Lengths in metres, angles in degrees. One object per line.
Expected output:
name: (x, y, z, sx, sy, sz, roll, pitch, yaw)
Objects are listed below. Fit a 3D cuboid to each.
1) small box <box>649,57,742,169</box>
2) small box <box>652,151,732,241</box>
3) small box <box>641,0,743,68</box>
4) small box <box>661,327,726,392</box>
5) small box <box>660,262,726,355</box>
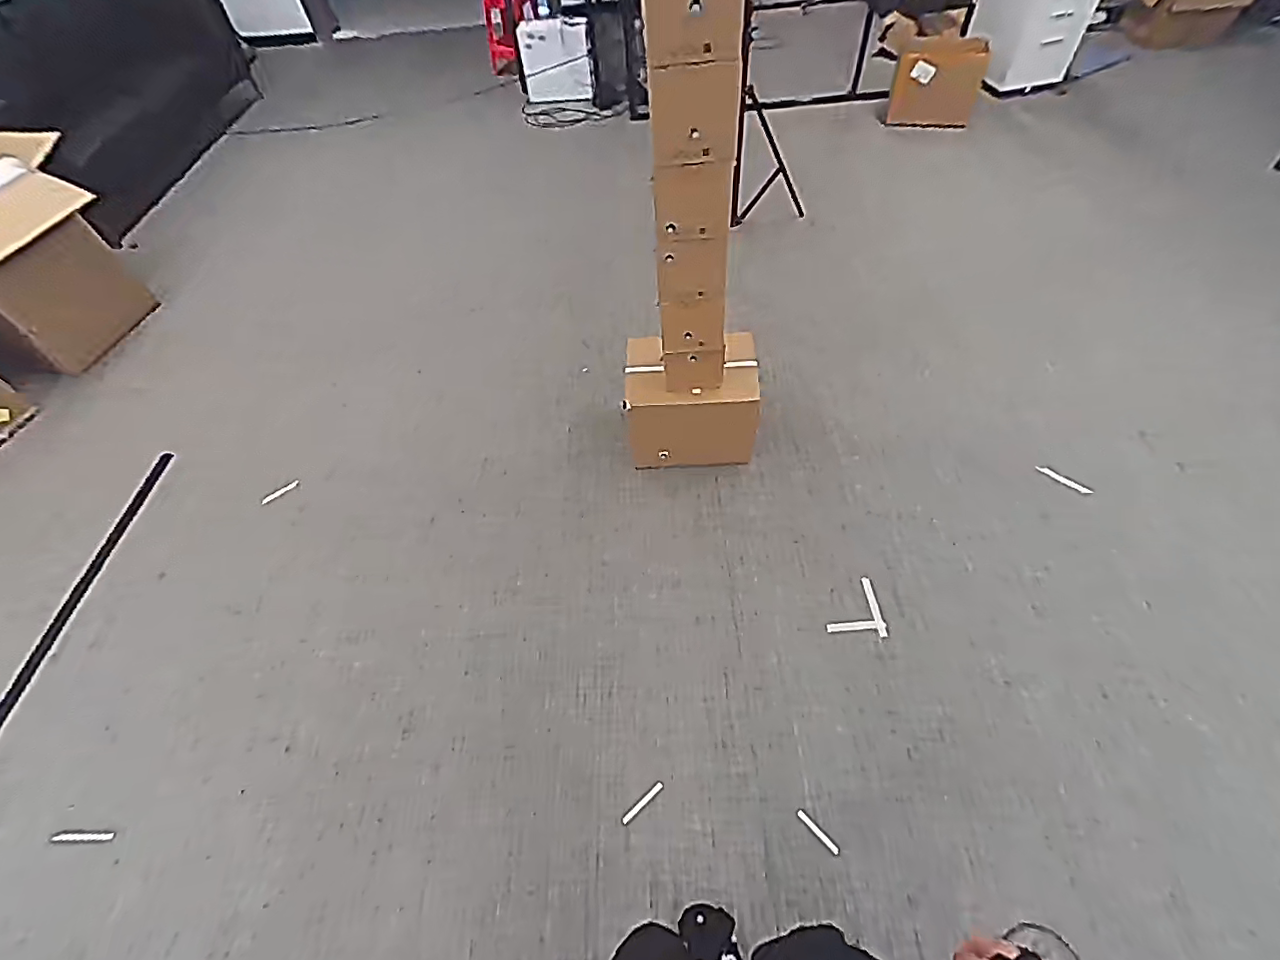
small box: (0.103, -0.744, 1.067, 0.168, 0.176, 0.179, -4, 56, 3)
small box: (0.115, -0.652, 1.203, 0.168, 0.176, 0.179, -2, 55, 4)
small box: (0.086, -0.841, 0.936, 0.168, 0.176, 0.179, -5, 56, 2)
small box: (0.156, -0.378, 1.607, 0.179, 0.176, 0.168, -4, 55, 2)
small box: (0.140, -0.465, 1.471, 0.168, 0.176, 0.179, -4, 55, 3)
